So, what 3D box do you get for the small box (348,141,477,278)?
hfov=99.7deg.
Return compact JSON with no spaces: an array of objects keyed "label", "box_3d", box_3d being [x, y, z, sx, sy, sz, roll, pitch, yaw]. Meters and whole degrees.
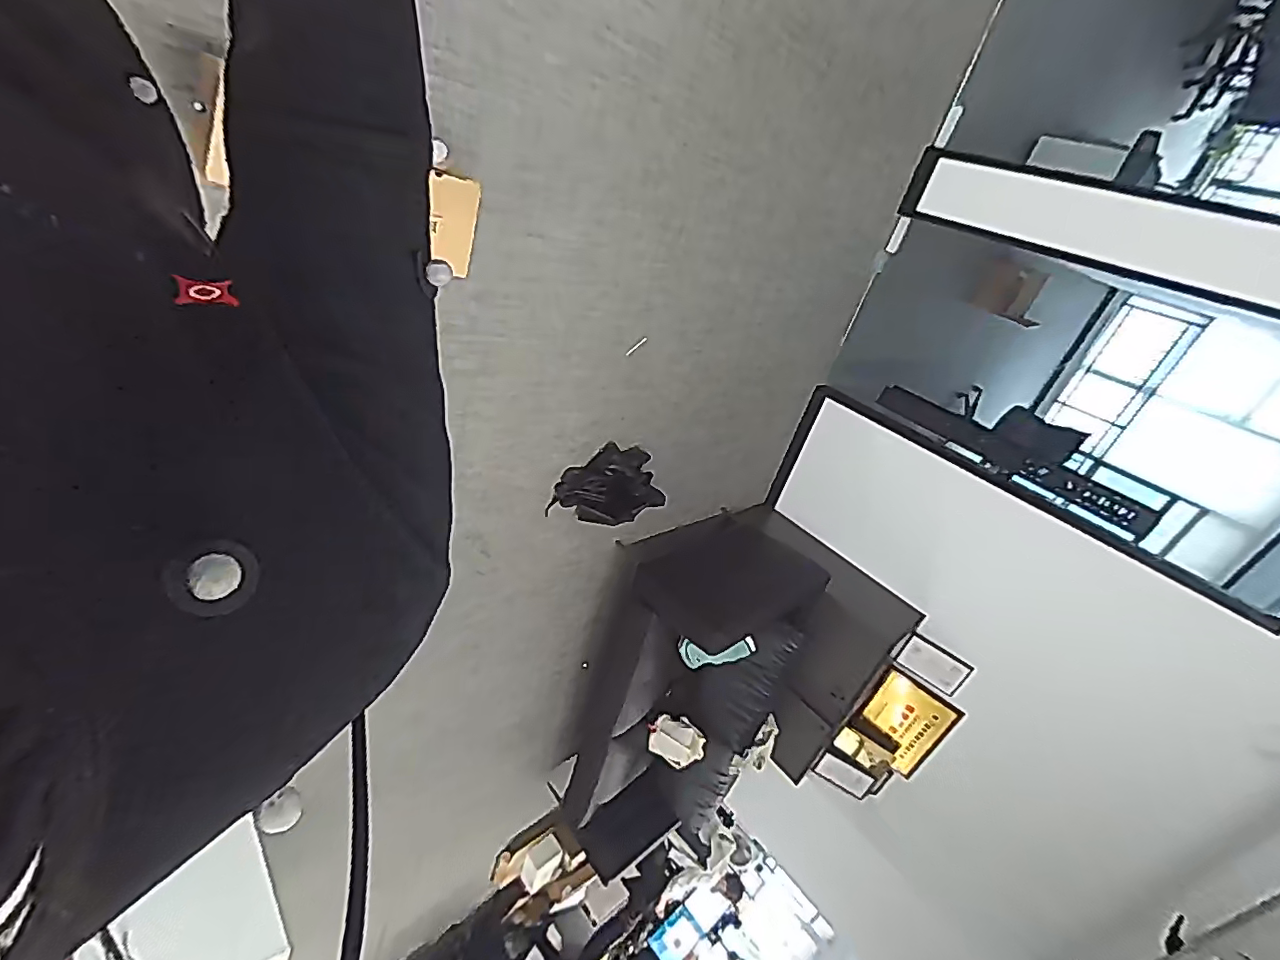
[{"label":"small box","box_3d":[-0.434,-0.506,1.017,0.168,0.176,0.179,-9,128,-45]}]
